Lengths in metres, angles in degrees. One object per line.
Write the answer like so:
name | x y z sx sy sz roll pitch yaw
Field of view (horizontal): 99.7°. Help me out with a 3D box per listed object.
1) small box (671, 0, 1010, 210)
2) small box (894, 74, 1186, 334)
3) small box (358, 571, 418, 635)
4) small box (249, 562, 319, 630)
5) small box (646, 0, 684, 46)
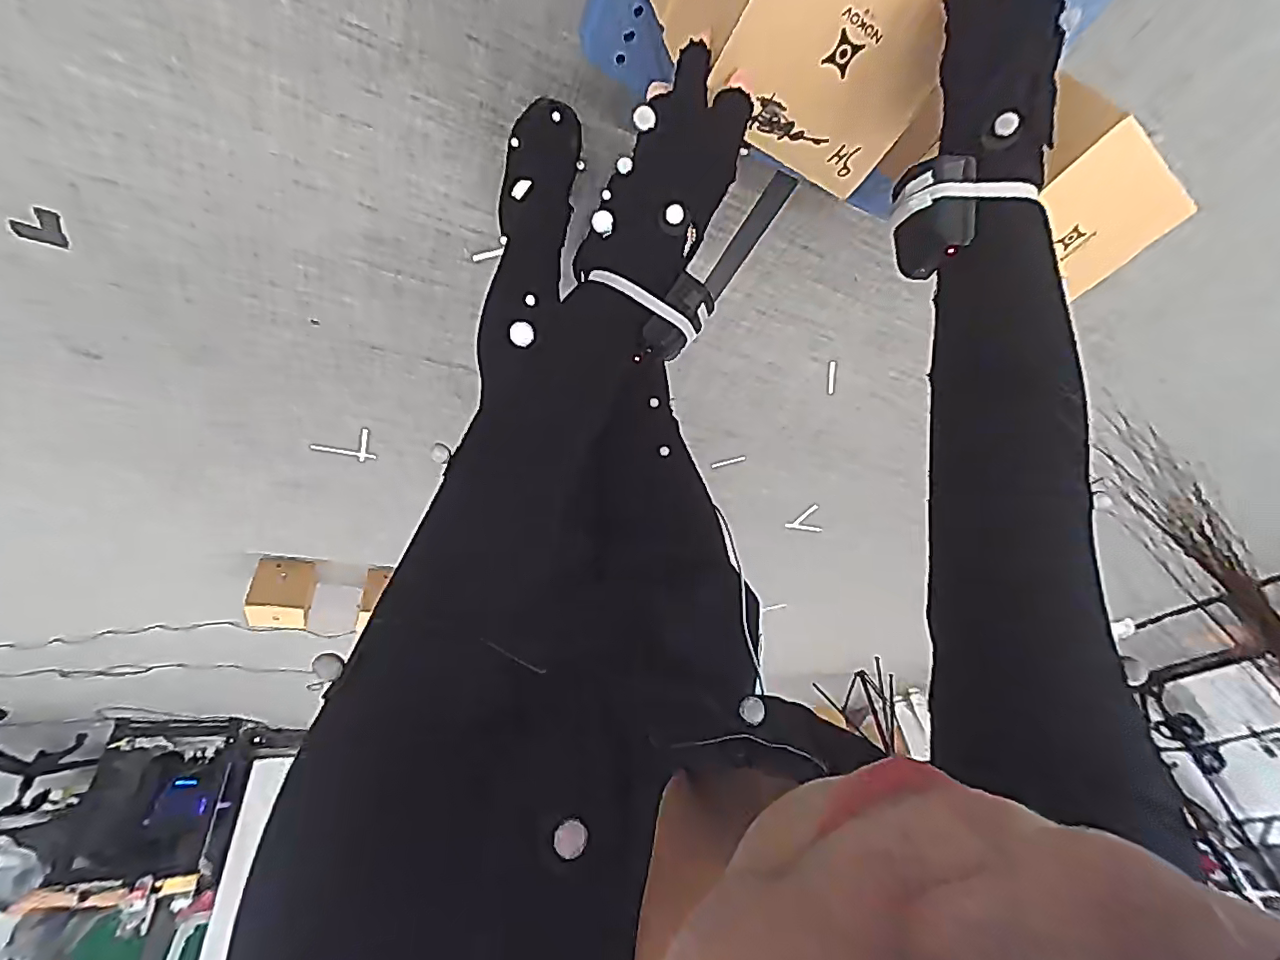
small box | 0.140 -0.368 0.434 0.168 0.176 0.179 14 138 -26
small box | 0.420 -0.300 0.594 0.179 0.176 0.168 14 138 -30
small box | -0.914 0.449 1.970 0.168 0.176 0.179 12 139 -27
small box | -1.201 0.396 1.837 0.168 0.176 0.179 10 141 -23
small box | 0.122 -0.500 0.532 0.179 0.176 0.168 15 138 -28
